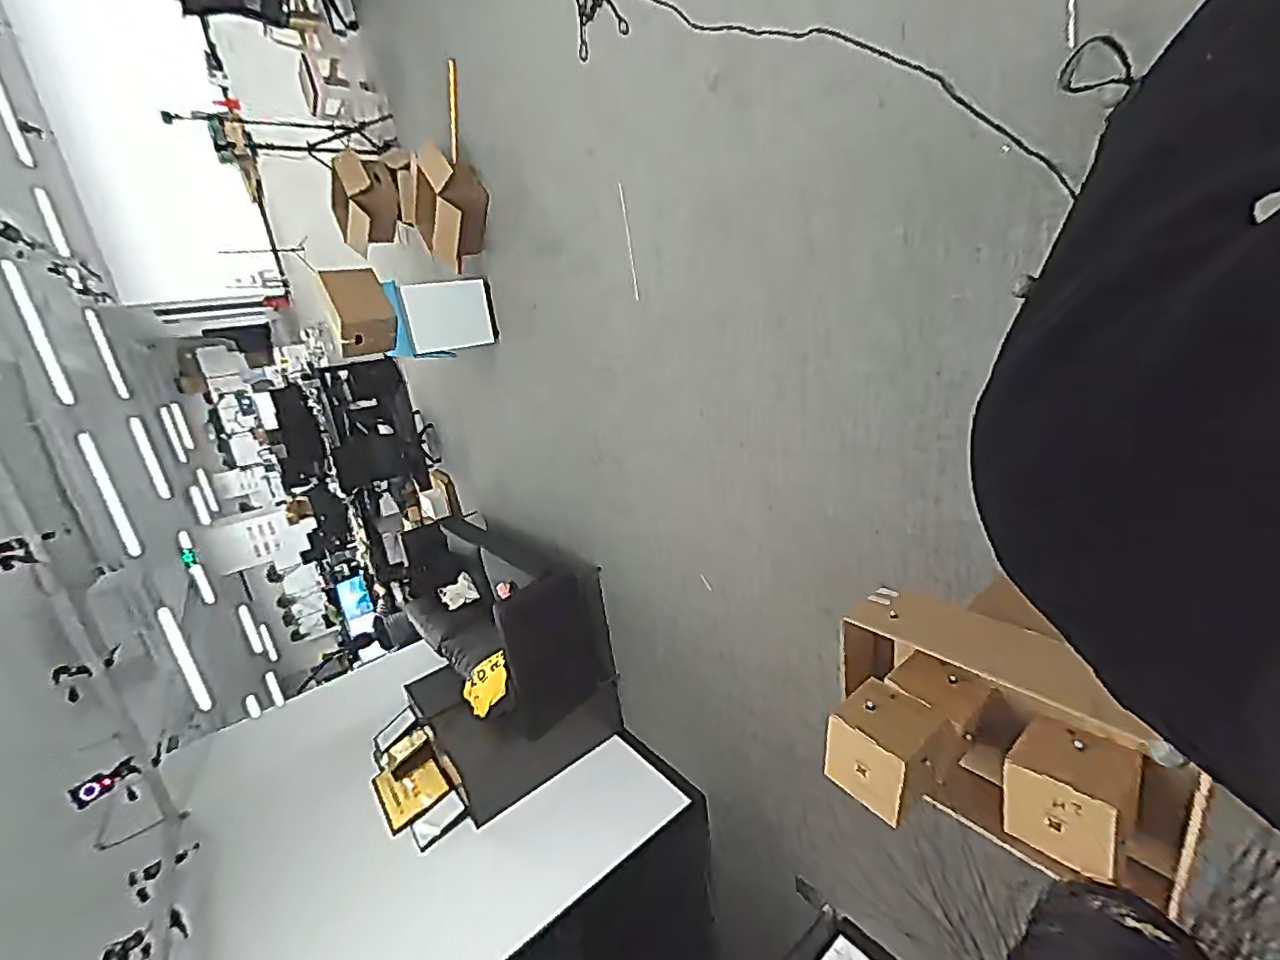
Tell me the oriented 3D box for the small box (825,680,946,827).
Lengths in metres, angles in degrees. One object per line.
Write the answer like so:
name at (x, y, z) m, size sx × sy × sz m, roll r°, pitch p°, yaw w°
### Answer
small box at (0.510, 0.556, 1.126) m, size 0.168 × 0.176 × 0.179 m, roll 23°, pitch 124°, yaw 49°

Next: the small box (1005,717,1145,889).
small box at (0.808, 0.586, 1.007) m, size 0.168 × 0.176 × 0.179 m, roll 10°, pitch 114°, yaw 52°
